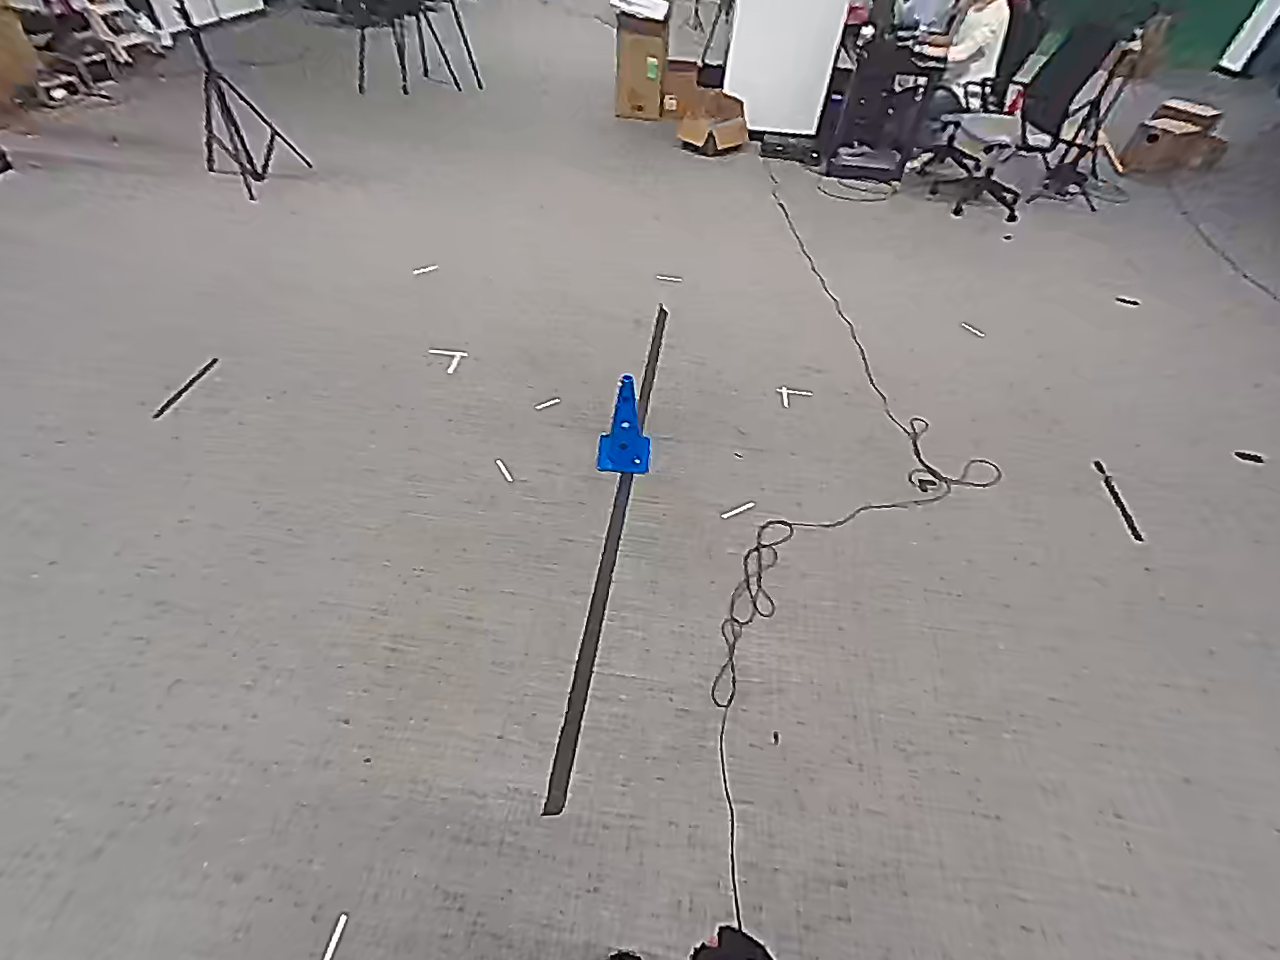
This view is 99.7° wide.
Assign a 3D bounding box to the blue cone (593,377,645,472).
[{"bbox_3d":[-0.073,-0.210,1.954,0.192,0.380,0.193,5,47,1],"label":"blue cone"}]
